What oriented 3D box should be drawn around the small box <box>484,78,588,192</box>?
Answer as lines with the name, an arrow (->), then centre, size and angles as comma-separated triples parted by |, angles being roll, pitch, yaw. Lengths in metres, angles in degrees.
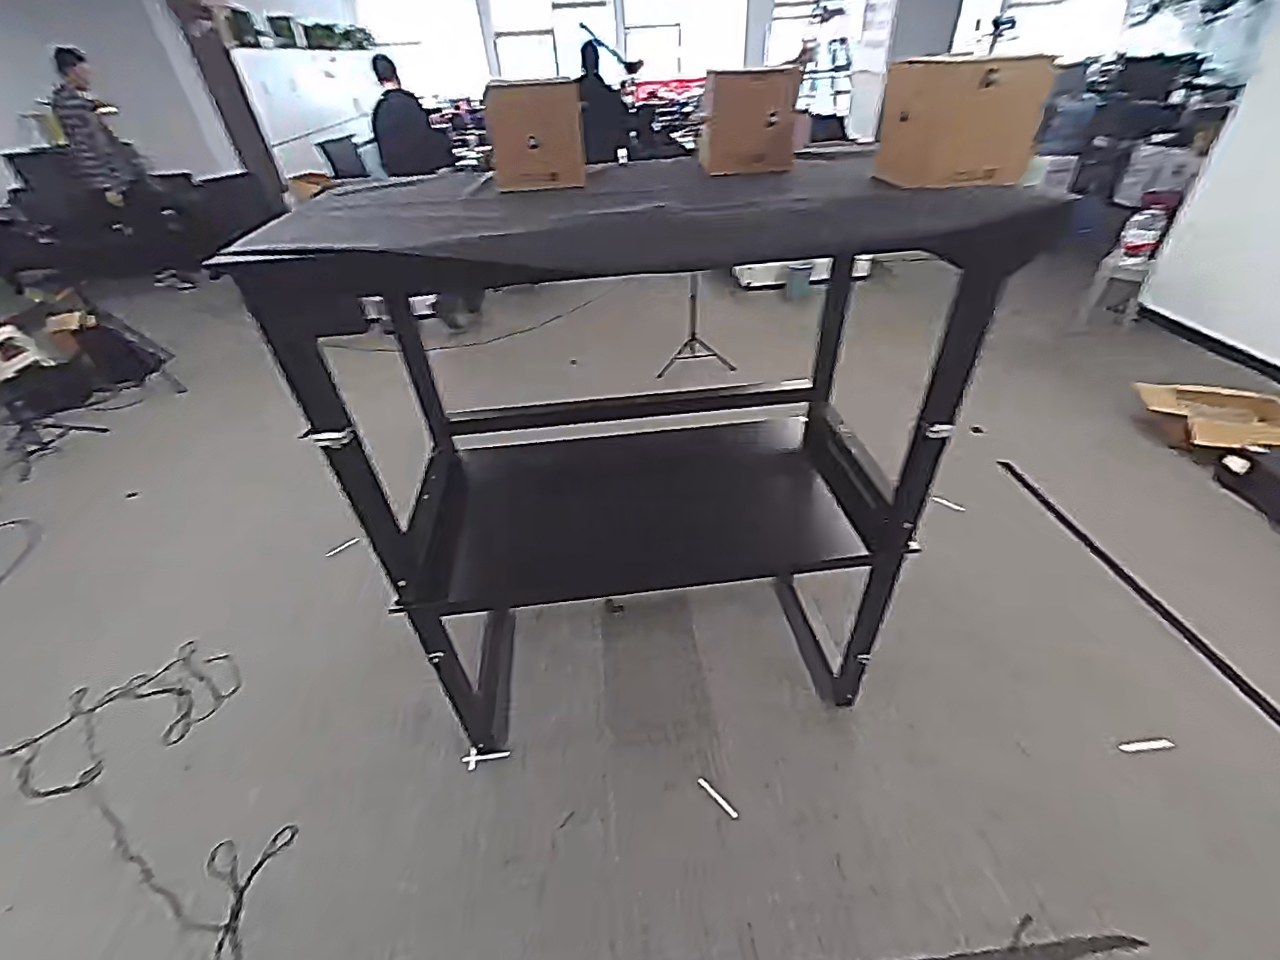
small box -> -0.192, -0.662, 1.043 | 0.168, 0.176, 0.179 | -6, 39, -4

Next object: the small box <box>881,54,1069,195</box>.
small box -> 0.507, -0.559, 0.854 | 0.168, 0.176, 0.179 | -7, 37, -2

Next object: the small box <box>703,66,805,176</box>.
small box -> 0.217, -0.710, 1.074 | 0.168, 0.176, 0.179 | -2, 38, 1
